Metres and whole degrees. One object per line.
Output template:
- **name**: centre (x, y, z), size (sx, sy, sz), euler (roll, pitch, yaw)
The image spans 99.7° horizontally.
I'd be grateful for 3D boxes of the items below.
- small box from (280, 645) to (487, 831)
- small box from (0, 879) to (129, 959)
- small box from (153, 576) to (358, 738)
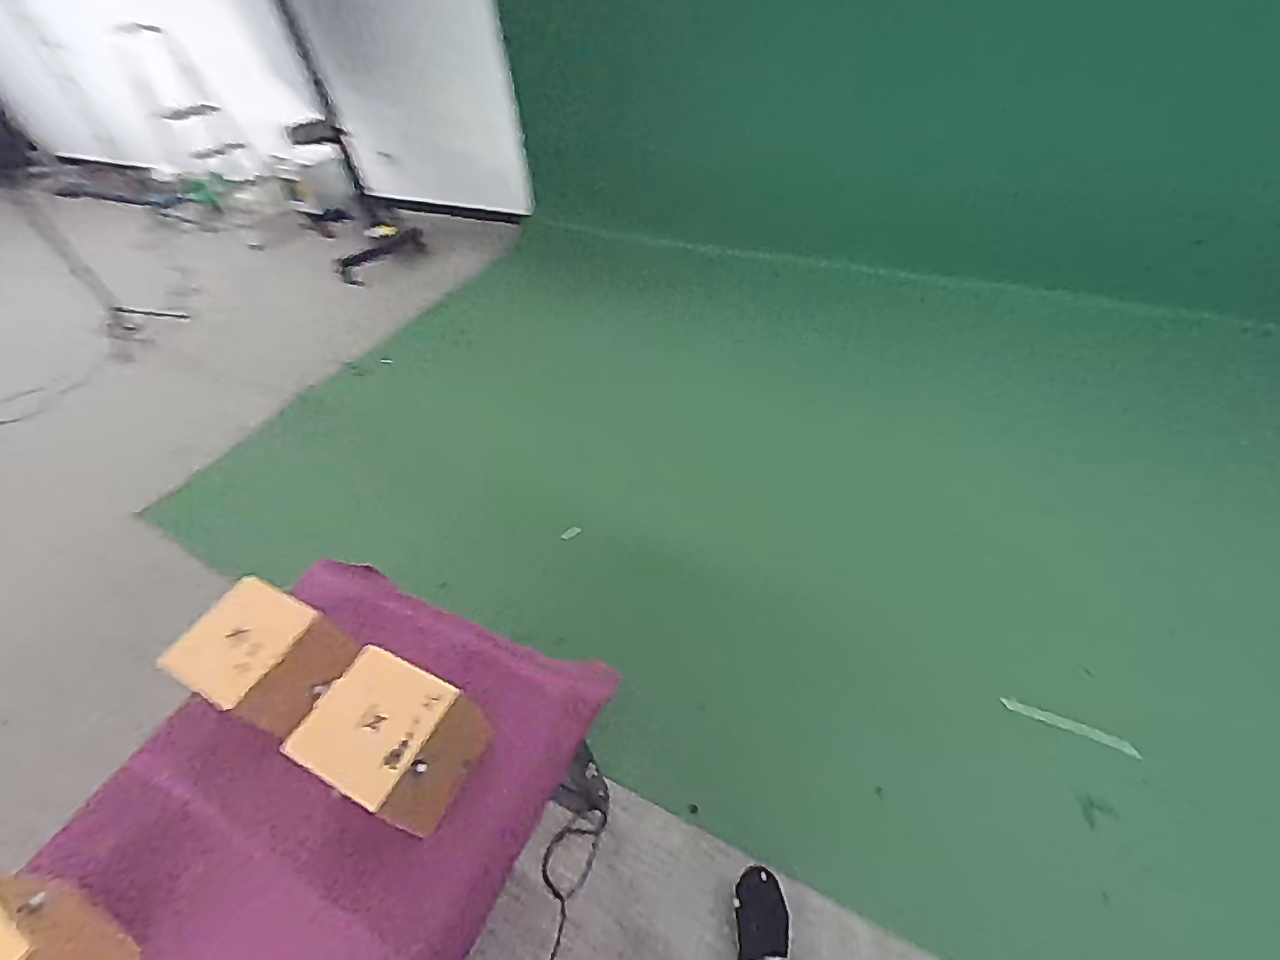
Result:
- **small box**: centre (-0.355, 0.375, 0.782), size (0.179, 0.176, 0.168), euler (16, 52, 21)
- **small box**: centre (-0.770, 0.594, 0.621), size (0.179, 0.176, 0.168), euler (18, 51, 18)
- **small box**: centre (-0.610, 0.291, 0.880), size (0.179, 0.176, 0.168), euler (18, 54, 19)
